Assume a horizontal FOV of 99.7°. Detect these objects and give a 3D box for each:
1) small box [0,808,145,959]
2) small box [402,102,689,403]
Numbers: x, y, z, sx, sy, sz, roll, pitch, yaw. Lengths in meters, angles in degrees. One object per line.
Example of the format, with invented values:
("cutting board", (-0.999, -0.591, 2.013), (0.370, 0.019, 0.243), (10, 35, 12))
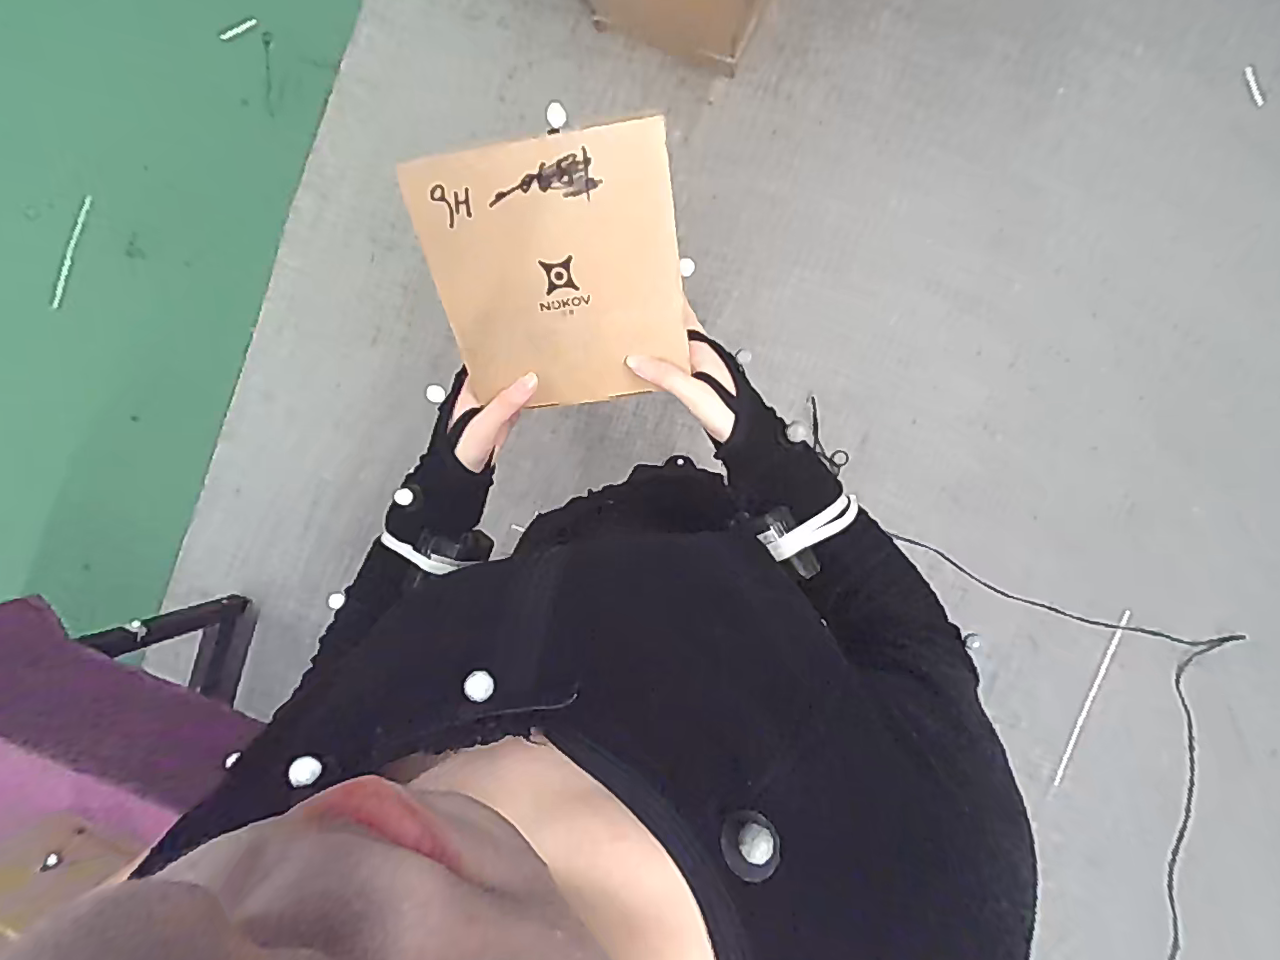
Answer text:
("small box", (-0.885, 0.627, 0.786), (0.168, 0.176, 0.179), (20, 94, 6))
("small box", (-0.051, -0.184, 0.432), (0.168, 0.176, 0.179), (-7, 125, 5))
